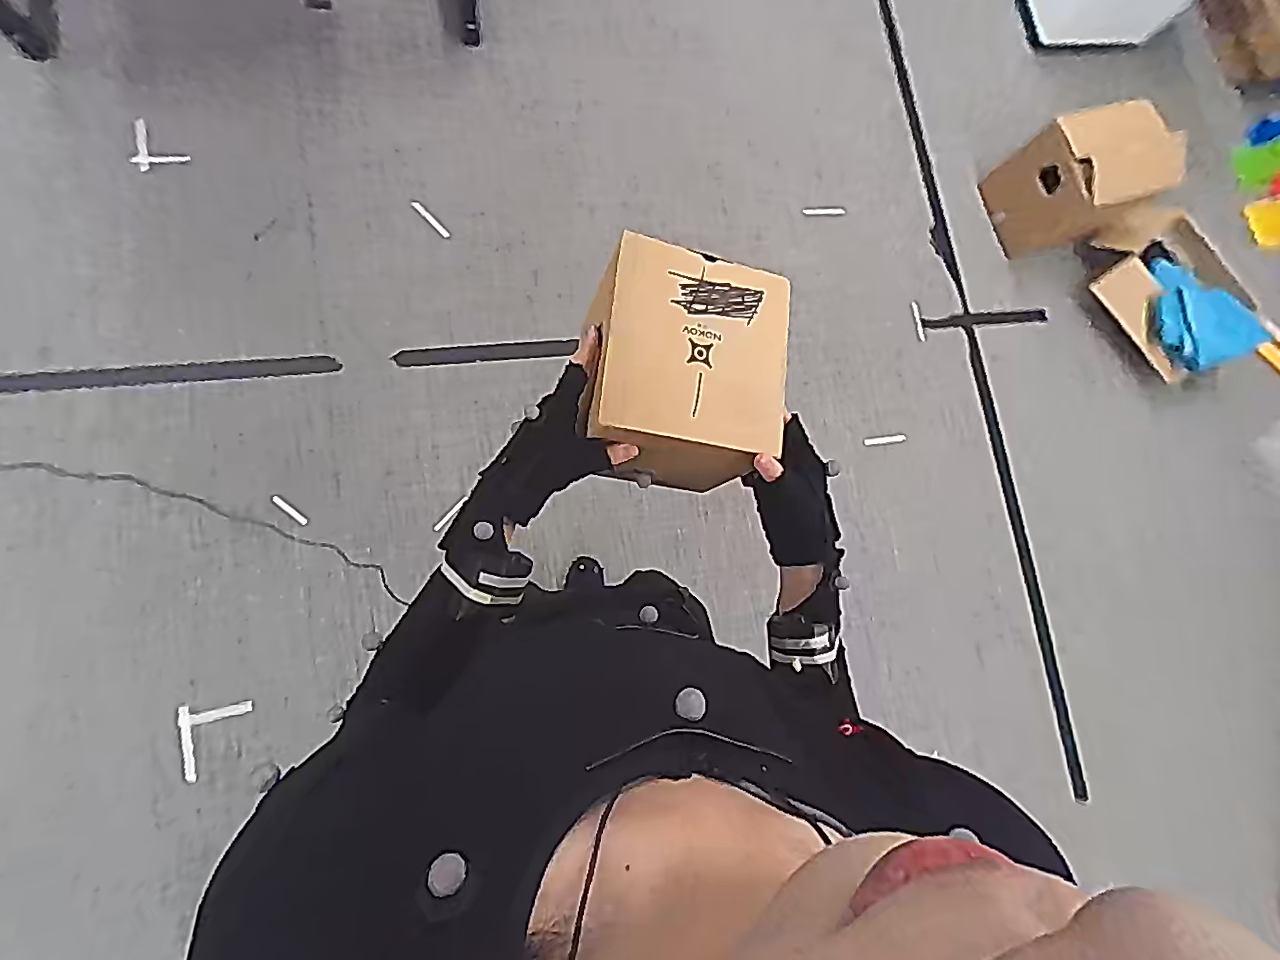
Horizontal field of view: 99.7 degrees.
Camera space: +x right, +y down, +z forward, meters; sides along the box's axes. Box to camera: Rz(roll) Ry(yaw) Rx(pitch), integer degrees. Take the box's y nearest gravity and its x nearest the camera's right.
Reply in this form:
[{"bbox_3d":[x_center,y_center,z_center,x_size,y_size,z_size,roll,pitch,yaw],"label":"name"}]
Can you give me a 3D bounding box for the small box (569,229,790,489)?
[{"bbox_3d":[0.030,-0.101,0.532,0.168,0.176,0.179,8,75,-15],"label":"small box"}]
